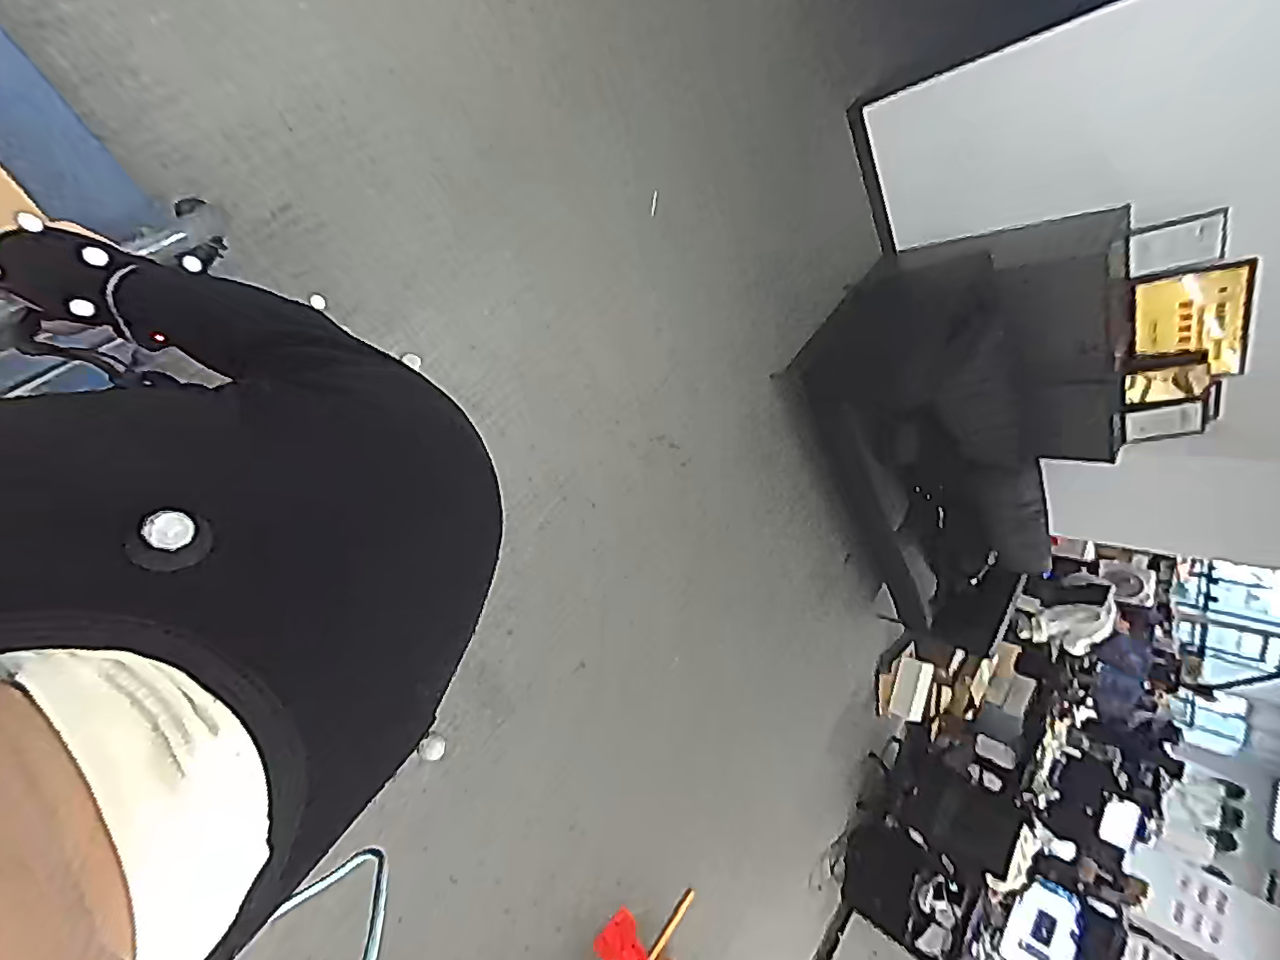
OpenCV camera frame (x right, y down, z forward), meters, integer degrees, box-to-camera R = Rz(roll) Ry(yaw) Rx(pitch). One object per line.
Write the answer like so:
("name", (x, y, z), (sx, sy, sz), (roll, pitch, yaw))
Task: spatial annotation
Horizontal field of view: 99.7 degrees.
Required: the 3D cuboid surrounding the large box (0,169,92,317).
("large box", (-1.114, -0.420, 0.747), (0.320, 0.320, 0.408), (-43, 122, -27))
